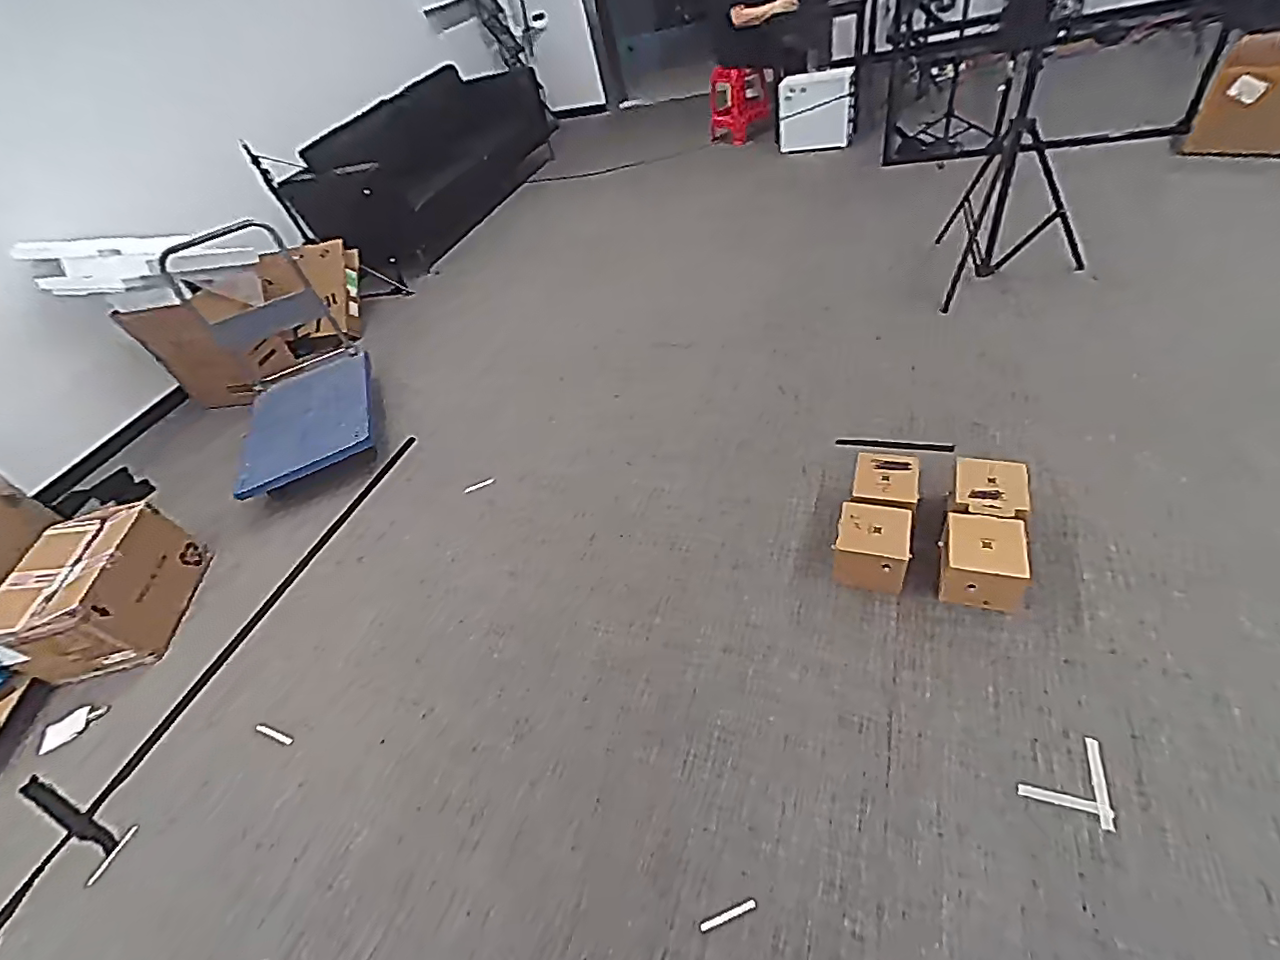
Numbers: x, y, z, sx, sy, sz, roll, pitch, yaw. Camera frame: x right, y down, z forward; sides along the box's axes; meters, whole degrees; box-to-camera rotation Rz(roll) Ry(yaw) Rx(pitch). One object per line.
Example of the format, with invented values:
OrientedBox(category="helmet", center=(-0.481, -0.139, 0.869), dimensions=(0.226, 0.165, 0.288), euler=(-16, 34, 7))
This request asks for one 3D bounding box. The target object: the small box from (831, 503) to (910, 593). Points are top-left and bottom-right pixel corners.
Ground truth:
OrientedBox(category="small box", center=(0.623, 0.186, 1.471), dimensions=(0.179, 0.176, 0.168), euler=(7, 51, 23))
